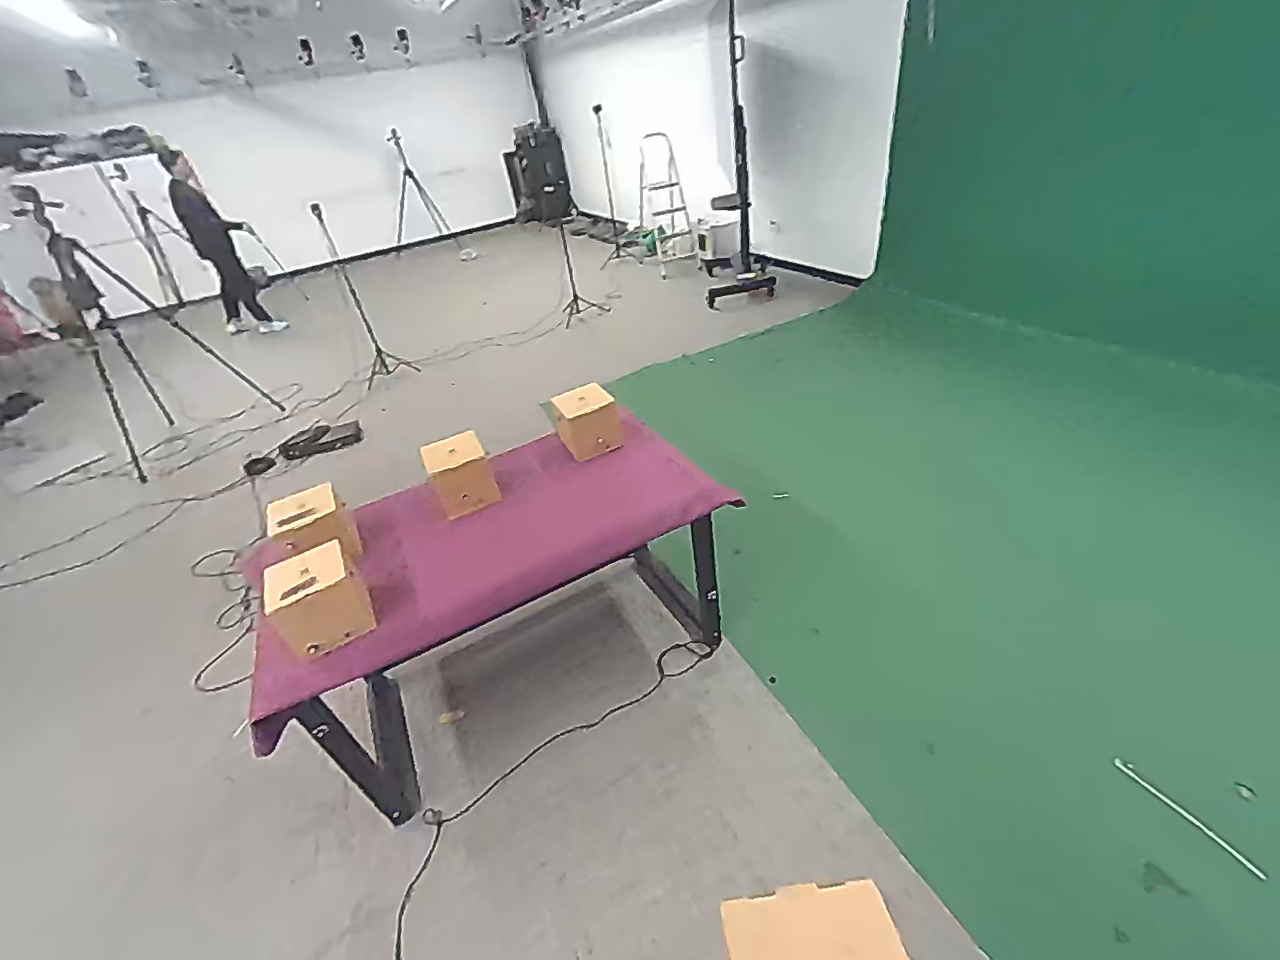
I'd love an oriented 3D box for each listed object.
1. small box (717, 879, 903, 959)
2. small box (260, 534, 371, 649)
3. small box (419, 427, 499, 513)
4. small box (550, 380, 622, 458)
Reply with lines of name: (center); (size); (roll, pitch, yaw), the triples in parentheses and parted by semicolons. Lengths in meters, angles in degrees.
small box: (0.170, 0.532, 0.516); (0.168, 0.176, 0.179); (-7, 26, -2)
small box: (-0.745, 0.263, 1.249); (0.168, 0.176, 0.179); (-25, 37, -22)
small box: (-0.539, -0.030, 1.615); (0.168, 0.176, 0.179); (-22, 39, -18)
small box: (-0.173, -0.199, 1.761); (0.168, 0.176, 0.179); (-23, 39, -15)
